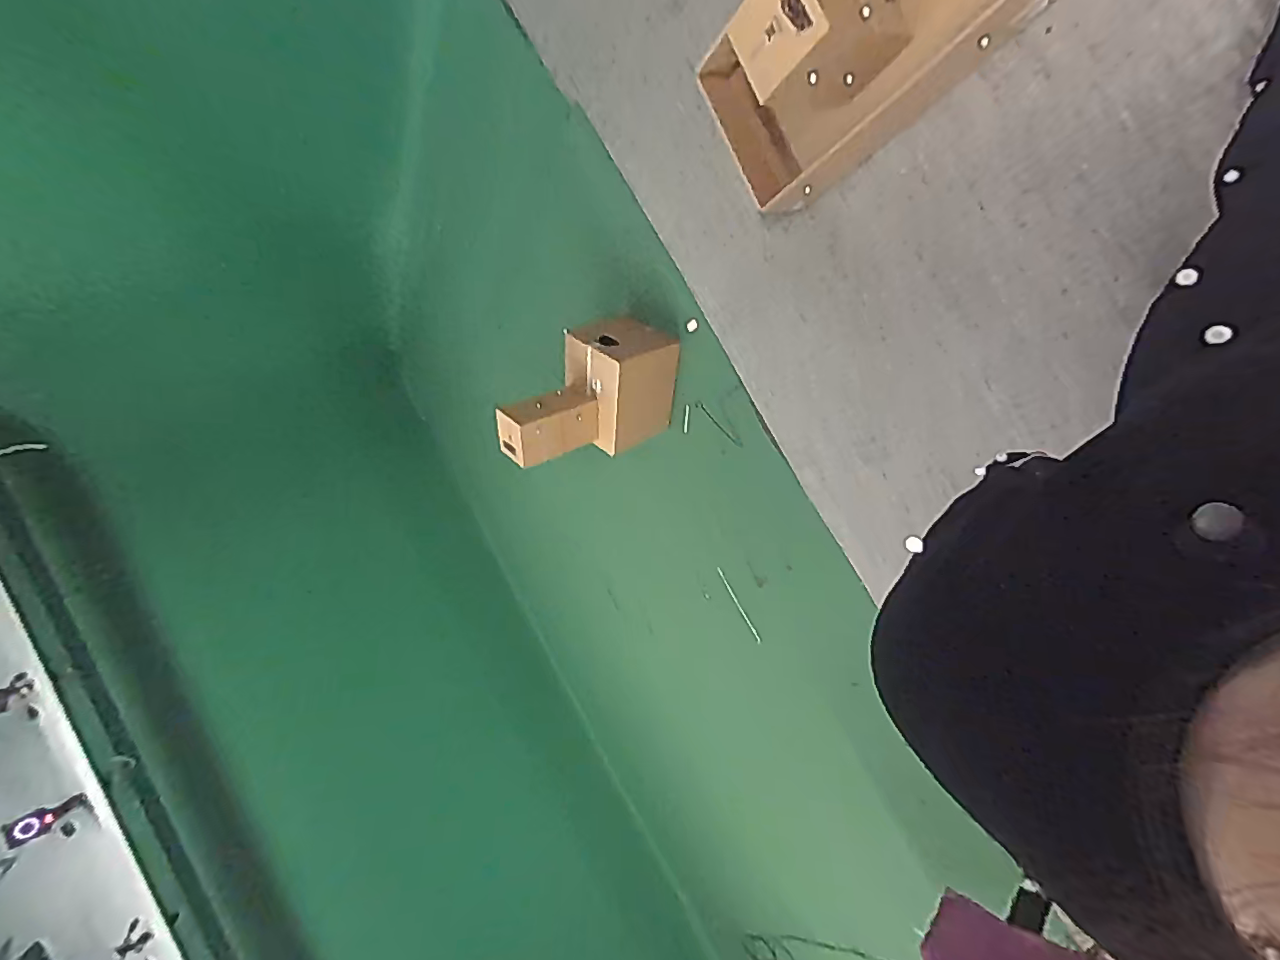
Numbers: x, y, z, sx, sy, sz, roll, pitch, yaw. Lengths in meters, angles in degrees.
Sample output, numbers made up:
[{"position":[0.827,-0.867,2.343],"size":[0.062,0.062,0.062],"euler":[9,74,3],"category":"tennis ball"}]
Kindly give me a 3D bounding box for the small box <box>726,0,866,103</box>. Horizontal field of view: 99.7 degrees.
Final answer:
[{"position":[0.308,-0.875,1.049],"size":[0.179,0.176,0.168],"euler":[-22,95,57],"category":"small box"}]

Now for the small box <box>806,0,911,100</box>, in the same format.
[{"position":[0.428,-0.941,1.141],"size":[0.179,0.176,0.168],"euler":[-24,94,55],"category":"small box"}]
